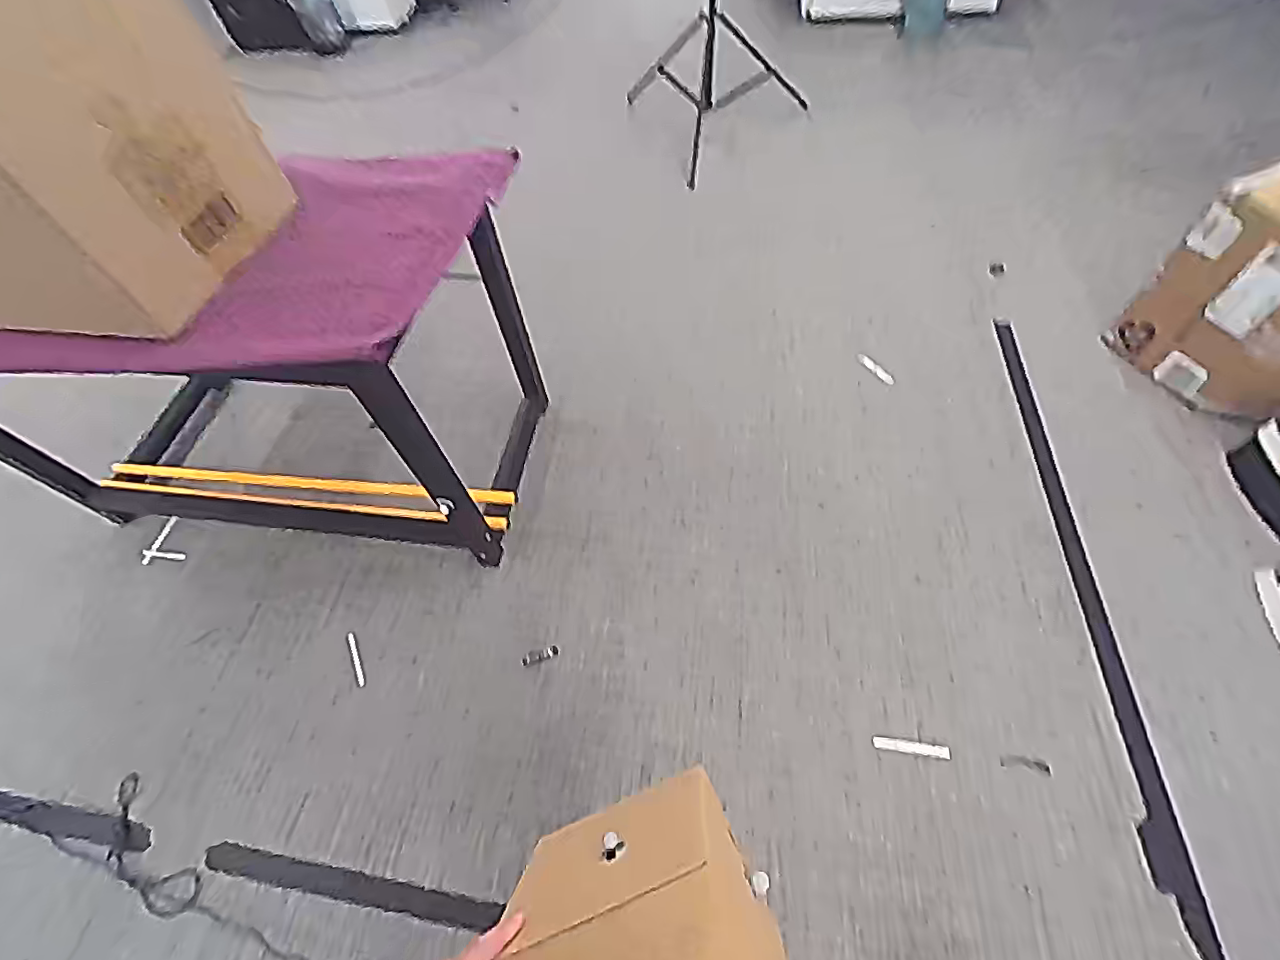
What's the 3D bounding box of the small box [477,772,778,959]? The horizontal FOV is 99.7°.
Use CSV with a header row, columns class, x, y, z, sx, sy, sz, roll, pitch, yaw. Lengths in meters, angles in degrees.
class,x,y,z,sx,sy,sz,roll,pitch,yaw
small box,0.006,0.371,0.424,0.179,0.176,0.168,-26,82,0
